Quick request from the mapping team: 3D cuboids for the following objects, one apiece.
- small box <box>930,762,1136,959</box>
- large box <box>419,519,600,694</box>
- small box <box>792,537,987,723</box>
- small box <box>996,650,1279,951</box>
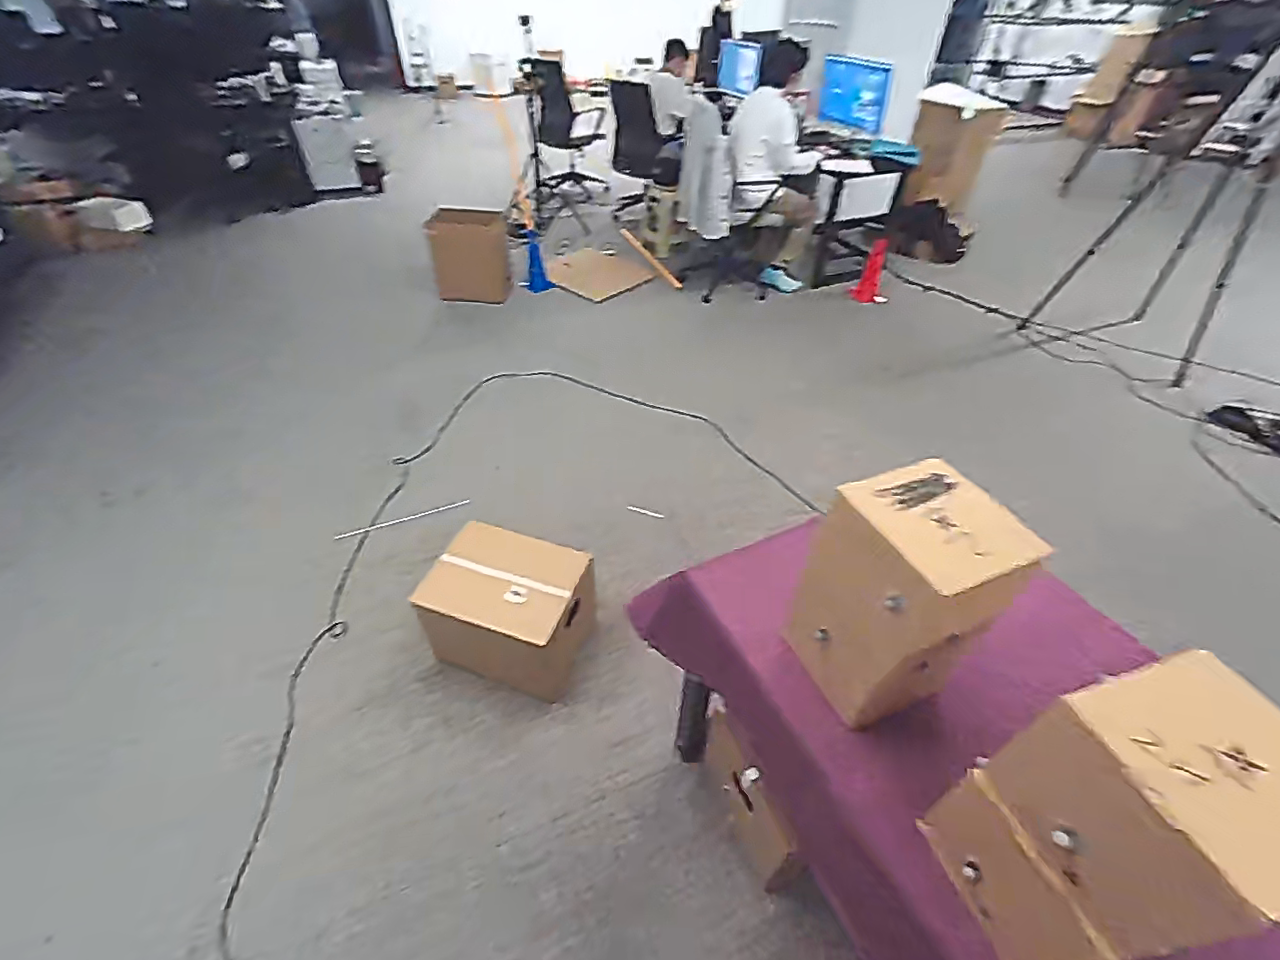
[{"bbox_3d":[0.468,0.407,0.599,0.179,0.176,0.168,-12,44,-13],"label":"small box"},{"bbox_3d":[-0.358,0.368,1.593,0.408,0.320,0.320,15,45,13],"label":"large box"},{"bbox_3d":[0.348,0.219,0.796,0.168,0.176,0.179,-16,45,-16],"label":"small box"},{"bbox_3d":[0.477,0.286,0.488,0.179,0.176,0.168,-11,44,-12],"label":"small box"}]
